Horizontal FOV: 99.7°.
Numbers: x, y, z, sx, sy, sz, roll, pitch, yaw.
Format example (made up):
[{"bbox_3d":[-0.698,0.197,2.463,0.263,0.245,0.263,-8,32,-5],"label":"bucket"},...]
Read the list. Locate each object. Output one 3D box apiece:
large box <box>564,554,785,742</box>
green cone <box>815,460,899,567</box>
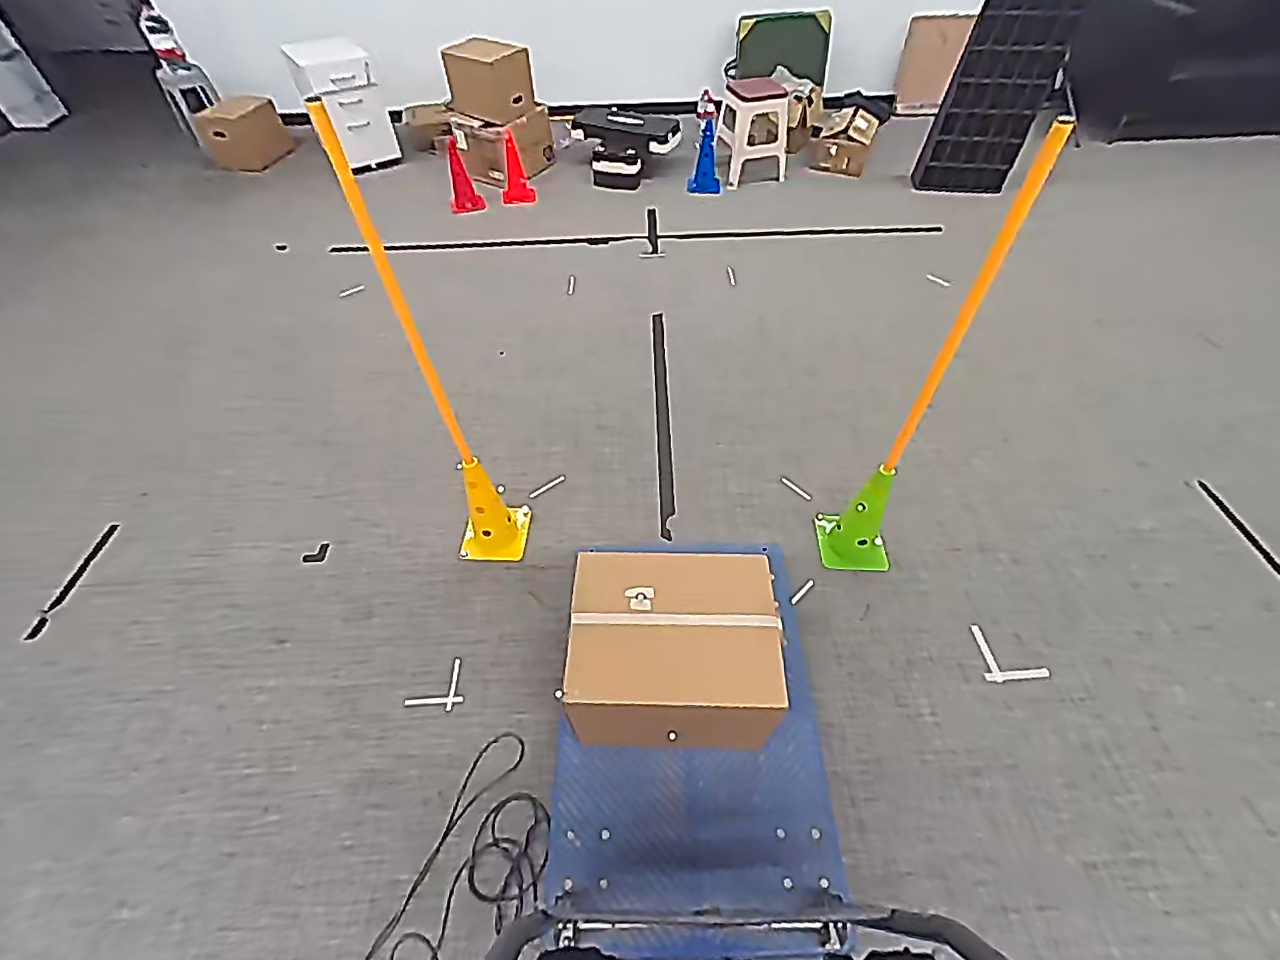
[{"bbox_3d":[0.070,0.370,1.174,0.408,0.320,0.320,0,51,3],"label":"large box"},{"bbox_3d":[0.667,0.078,1.583,0.202,0.368,0.200,2,51,1],"label":"green cone"}]
